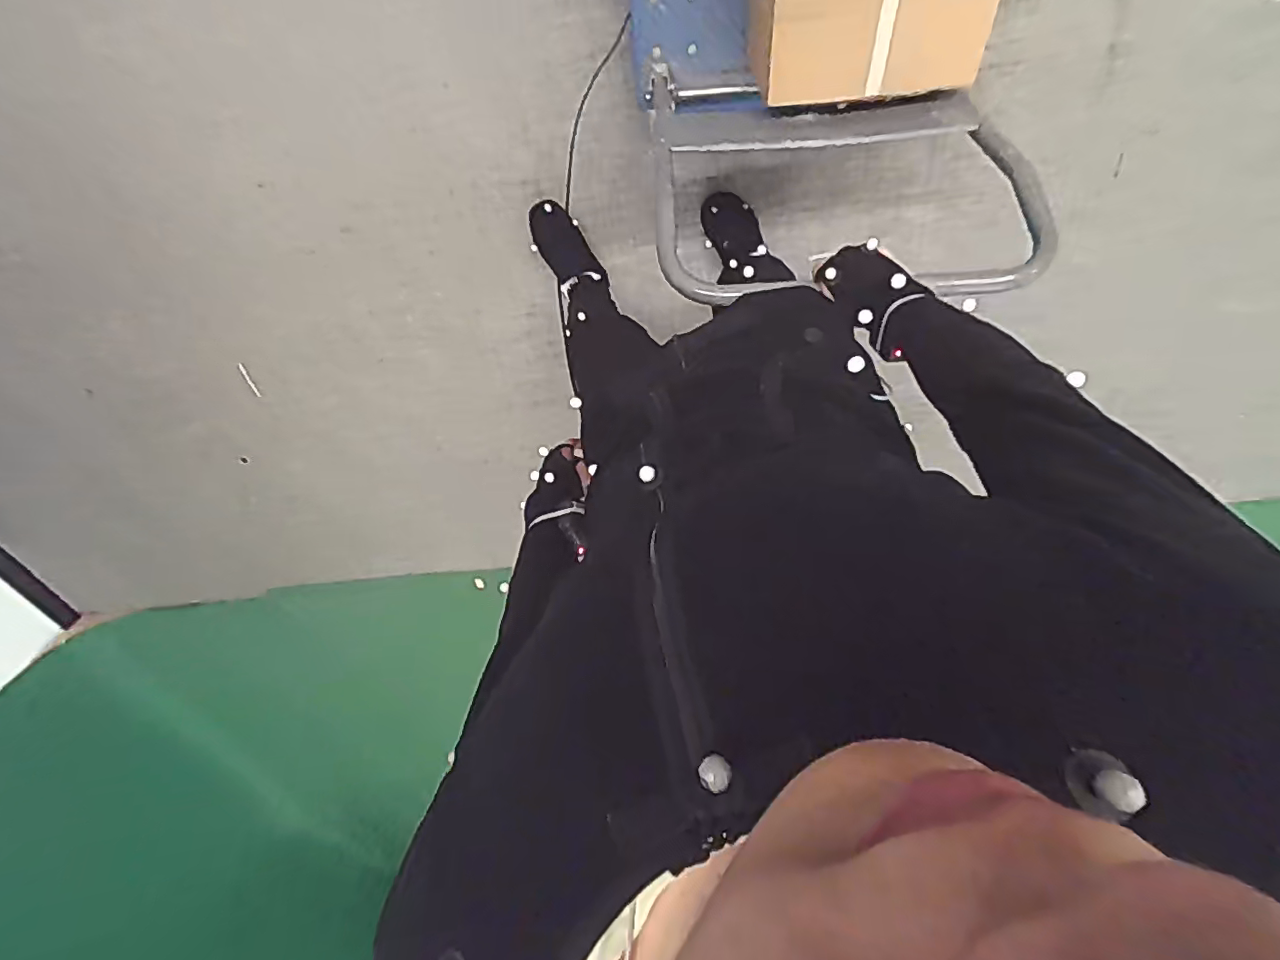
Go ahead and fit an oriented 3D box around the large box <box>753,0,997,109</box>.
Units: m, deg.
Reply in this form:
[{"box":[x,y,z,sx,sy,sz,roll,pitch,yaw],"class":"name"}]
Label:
[{"box":[0.342,-0.840,0.800,0.320,0.320,0.408,-3,138,5],"class":"large box"}]
